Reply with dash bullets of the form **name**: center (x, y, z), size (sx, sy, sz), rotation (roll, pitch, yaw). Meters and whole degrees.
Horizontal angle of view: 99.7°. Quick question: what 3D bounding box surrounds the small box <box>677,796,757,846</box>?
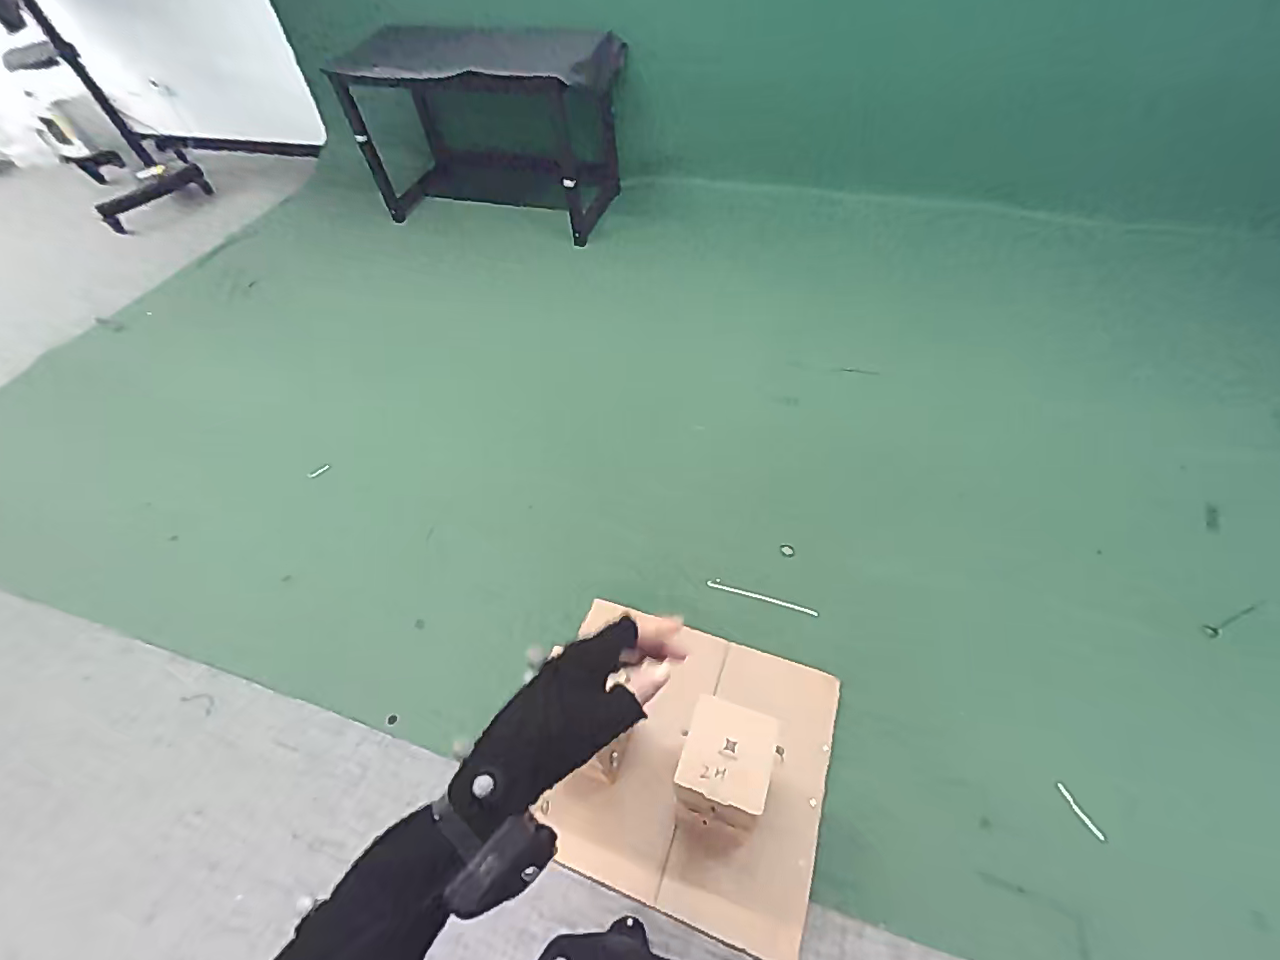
- **small box**: center (0.182, 0.674, 1.187), size (0.168, 0.176, 0.179), rotation (12, 54, 15)

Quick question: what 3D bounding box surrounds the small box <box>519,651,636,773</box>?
- **small box**: center (-0.121, 0.495, 1.143), size (0.179, 0.176, 0.168), rotation (15, 55, 19)

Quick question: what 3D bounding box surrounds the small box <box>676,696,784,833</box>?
- **small box**: center (0.175, 0.562, 1.064), size (0.168, 0.176, 0.179), rotation (14, 54, 17)
